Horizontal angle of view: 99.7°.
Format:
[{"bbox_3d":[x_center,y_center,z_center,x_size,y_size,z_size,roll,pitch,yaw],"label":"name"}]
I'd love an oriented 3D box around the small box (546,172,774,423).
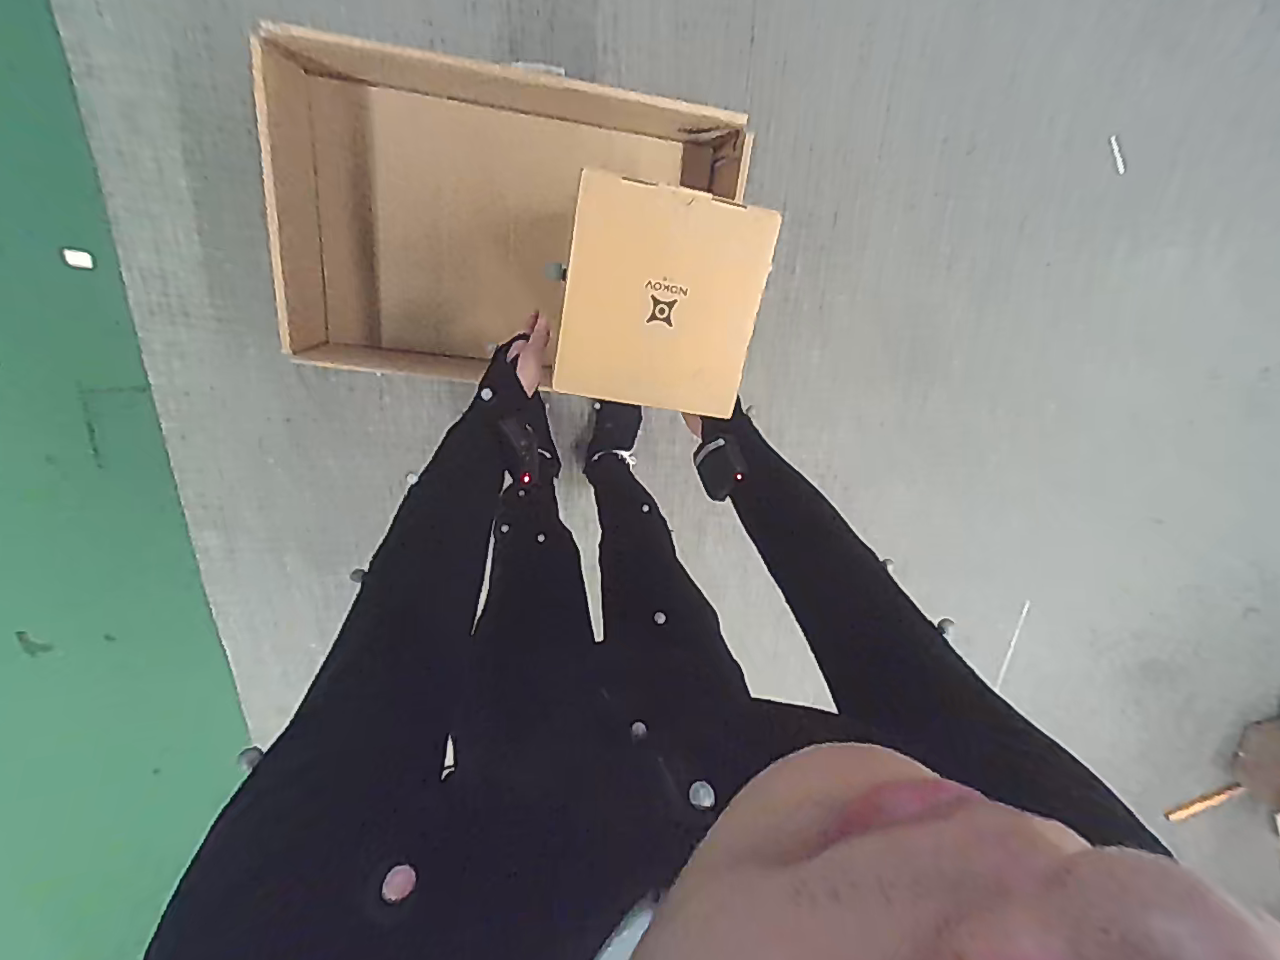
[{"bbox_3d":[0.006,-0.171,0.526,0.168,0.176,0.179,8,109,-10],"label":"small box"}]
